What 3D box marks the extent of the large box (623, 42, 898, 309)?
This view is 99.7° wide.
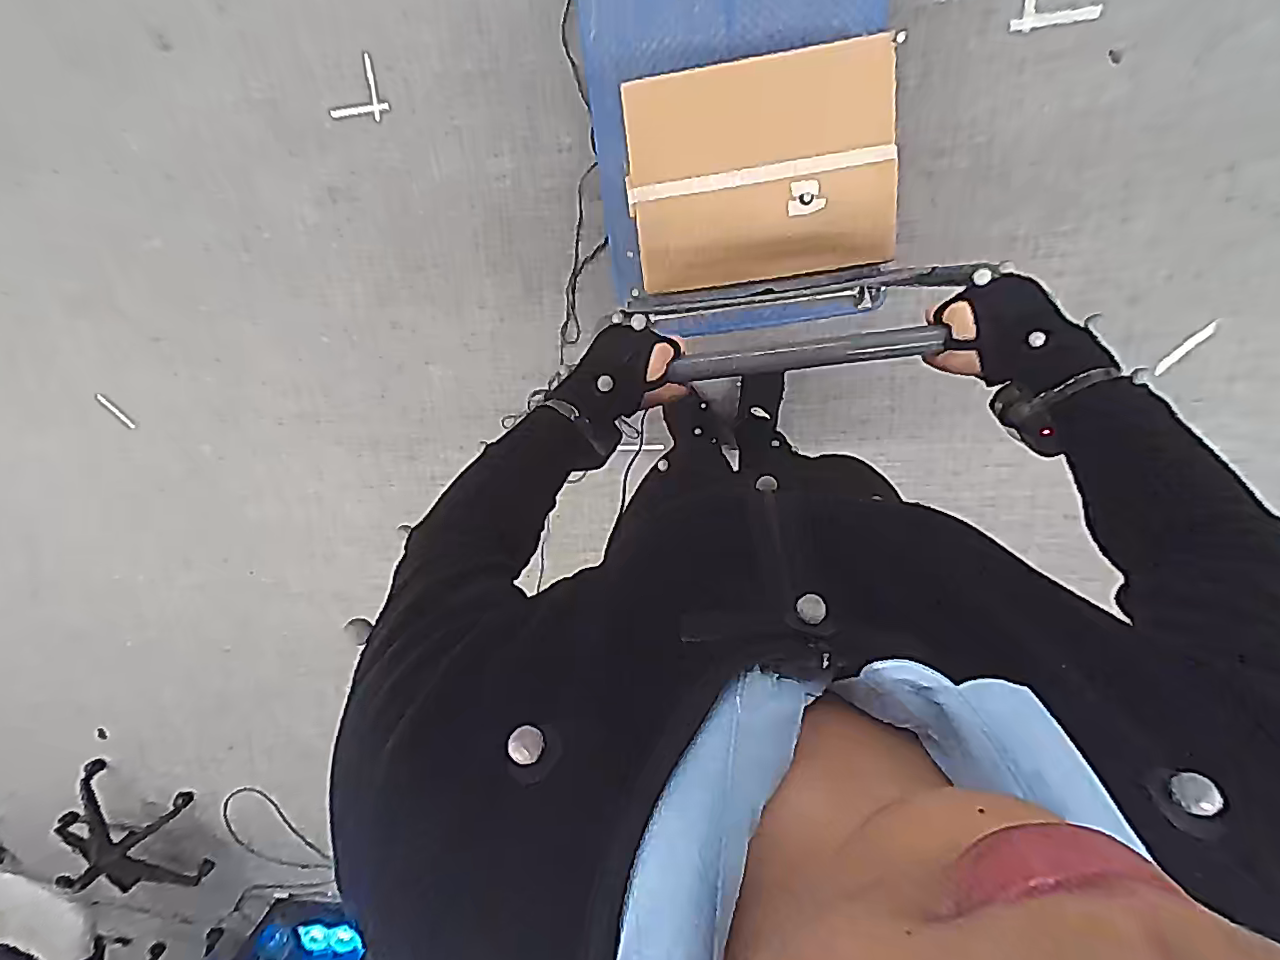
[{"bbox_3d":[0.201,-0.500,0.978,0.408,0.320,0.320,-6,107,7],"label":"large box"}]
